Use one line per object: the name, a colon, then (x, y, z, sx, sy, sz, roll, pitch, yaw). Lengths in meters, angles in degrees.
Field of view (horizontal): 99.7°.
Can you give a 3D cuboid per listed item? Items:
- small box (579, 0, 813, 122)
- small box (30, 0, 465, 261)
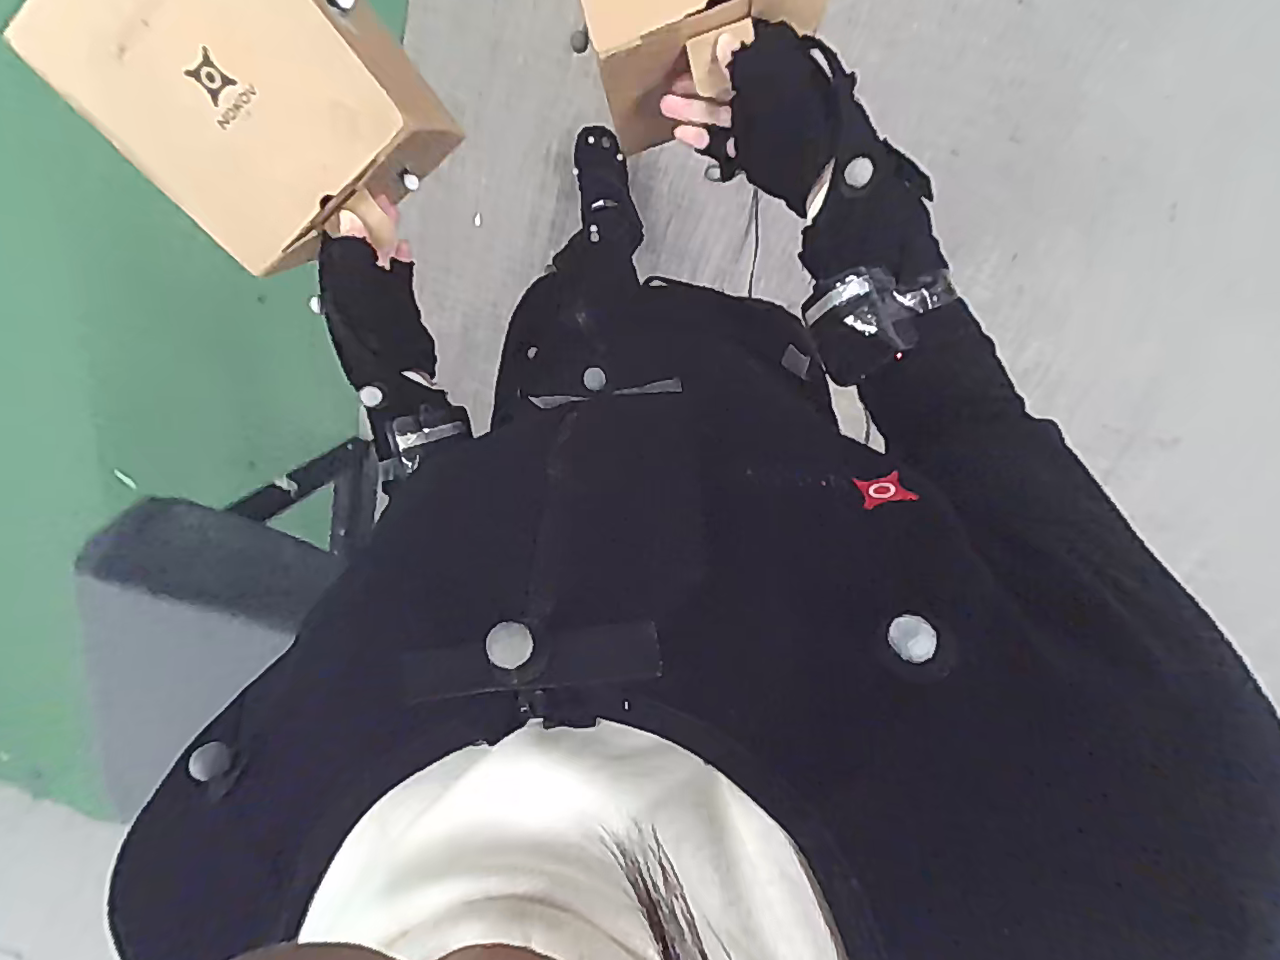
small box: (0.032, -0.404, 0.405, 0.168, 0.176, 0.179, -14, 101, 8)
small box: (-0.265, -0.305, 0.417, 0.168, 0.176, 0.179, -33, 116, 17)
